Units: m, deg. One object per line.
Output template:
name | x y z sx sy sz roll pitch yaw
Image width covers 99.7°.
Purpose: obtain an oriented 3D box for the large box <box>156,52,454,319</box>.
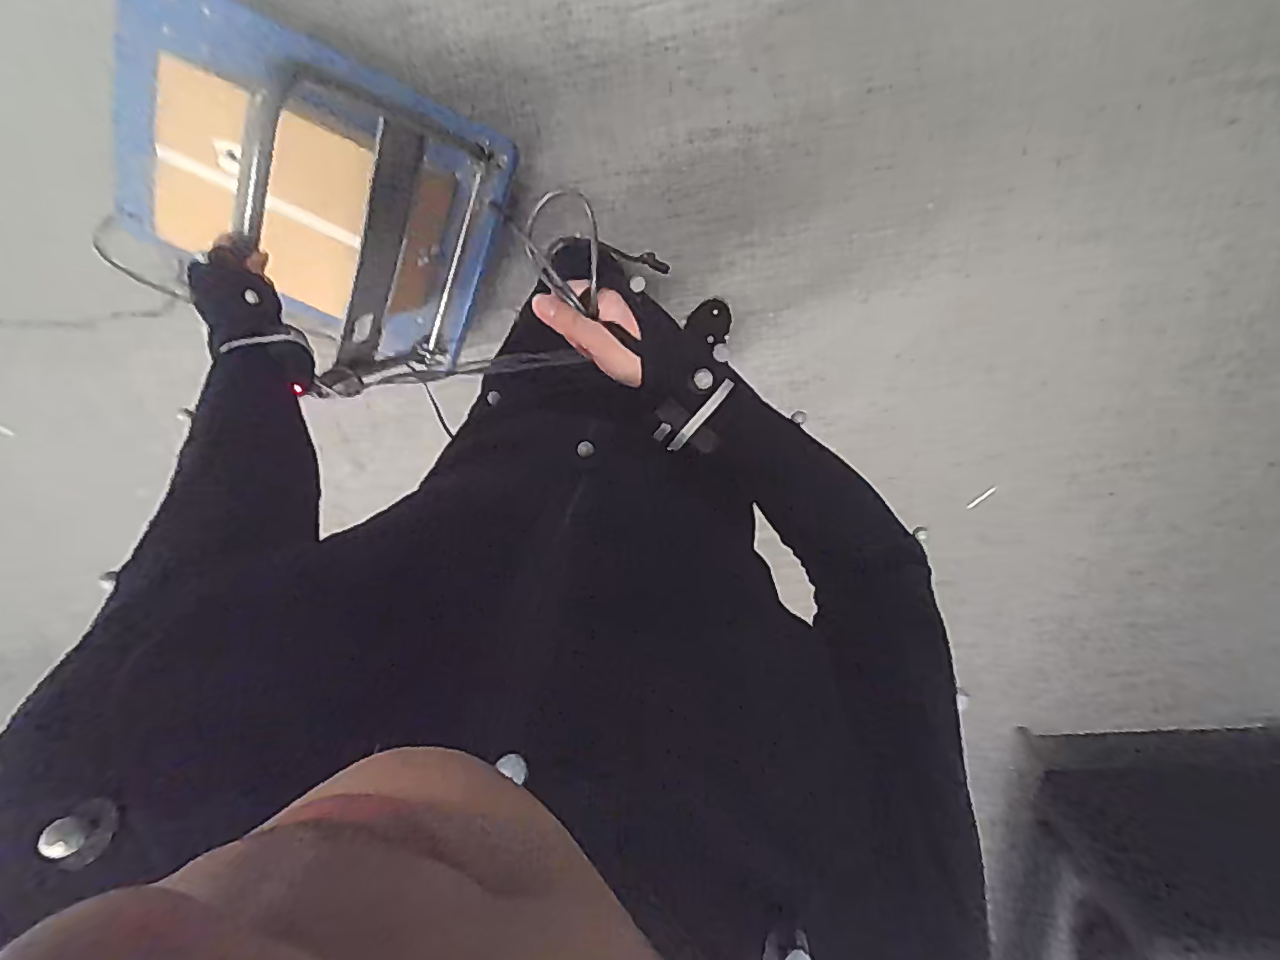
large box | -0.662 -0.579 1.118 0.408 0.320 0.320 25 114 -5
